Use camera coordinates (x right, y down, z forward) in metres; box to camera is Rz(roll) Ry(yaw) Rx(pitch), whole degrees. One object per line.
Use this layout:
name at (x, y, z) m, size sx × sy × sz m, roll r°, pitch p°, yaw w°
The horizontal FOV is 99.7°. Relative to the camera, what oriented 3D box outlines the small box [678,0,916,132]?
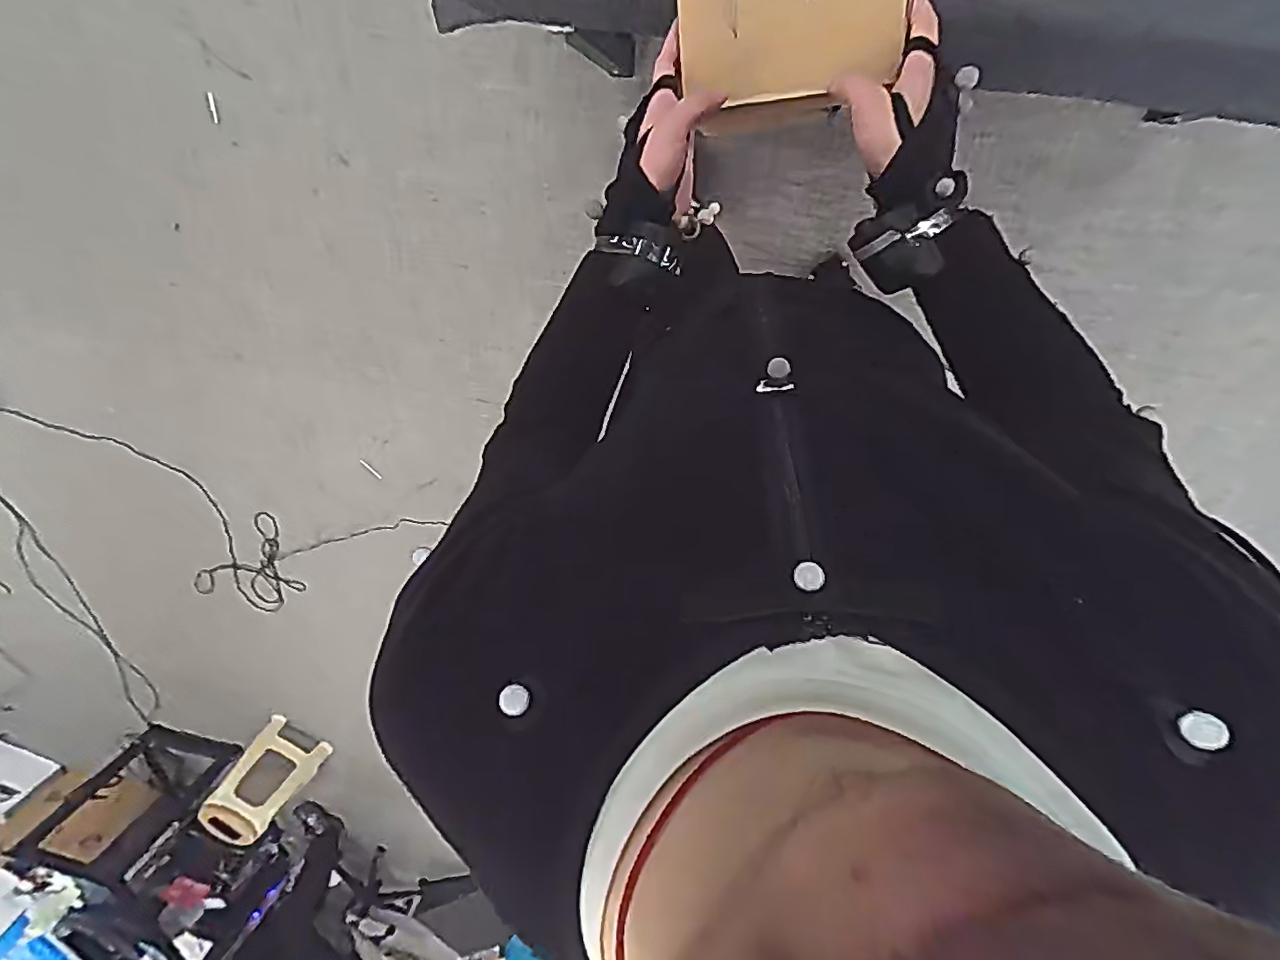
small box at (0.129, -0.415, 0.467) m, size 0.179 × 0.176 × 0.168 m, roll 2°, pitch 115°, yaw 13°
